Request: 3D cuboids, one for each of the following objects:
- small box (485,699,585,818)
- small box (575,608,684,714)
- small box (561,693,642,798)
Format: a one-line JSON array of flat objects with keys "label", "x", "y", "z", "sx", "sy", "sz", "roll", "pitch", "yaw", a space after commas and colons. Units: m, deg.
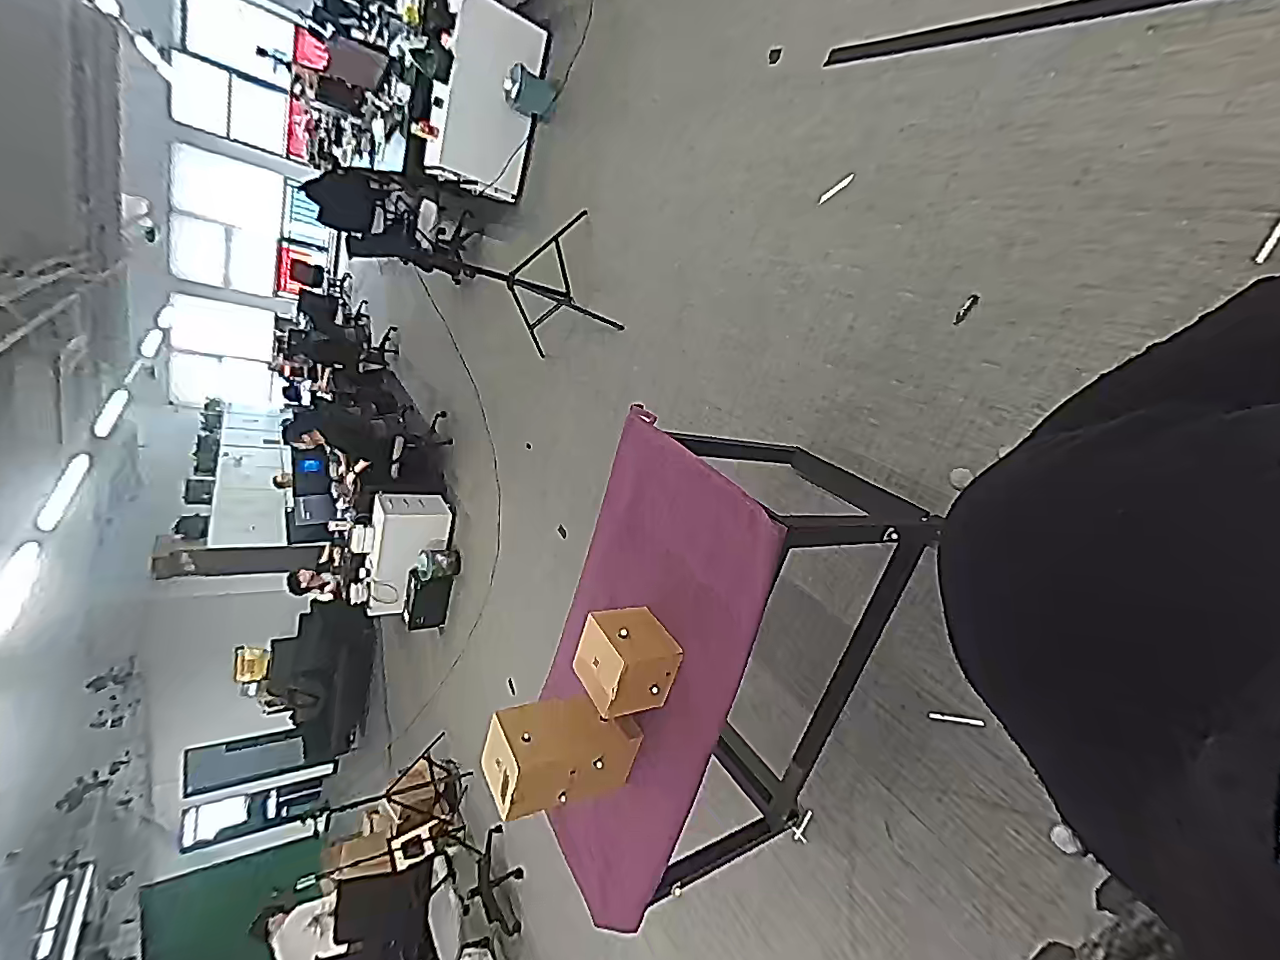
[{"label": "small box", "x": -0.252, "y": 0.655, "z": 1.296, "sx": 0.179, "sy": 0.176, "sz": 0.168, "roll": 39, "pitch": 118, "yaw": 49}, {"label": "small box", "x": -0.026, "y": 0.419, "z": 1.284, "sx": 0.179, "sy": 0.176, "sz": 0.168, "roll": 41, "pitch": 120, "yaw": 48}, {"label": "small box", "x": -0.115, "y": 0.665, "z": 1.387, "sx": 0.168, "sy": 0.176, "sz": 0.179, "roll": 41, "pitch": 120, "yaw": 48}]
